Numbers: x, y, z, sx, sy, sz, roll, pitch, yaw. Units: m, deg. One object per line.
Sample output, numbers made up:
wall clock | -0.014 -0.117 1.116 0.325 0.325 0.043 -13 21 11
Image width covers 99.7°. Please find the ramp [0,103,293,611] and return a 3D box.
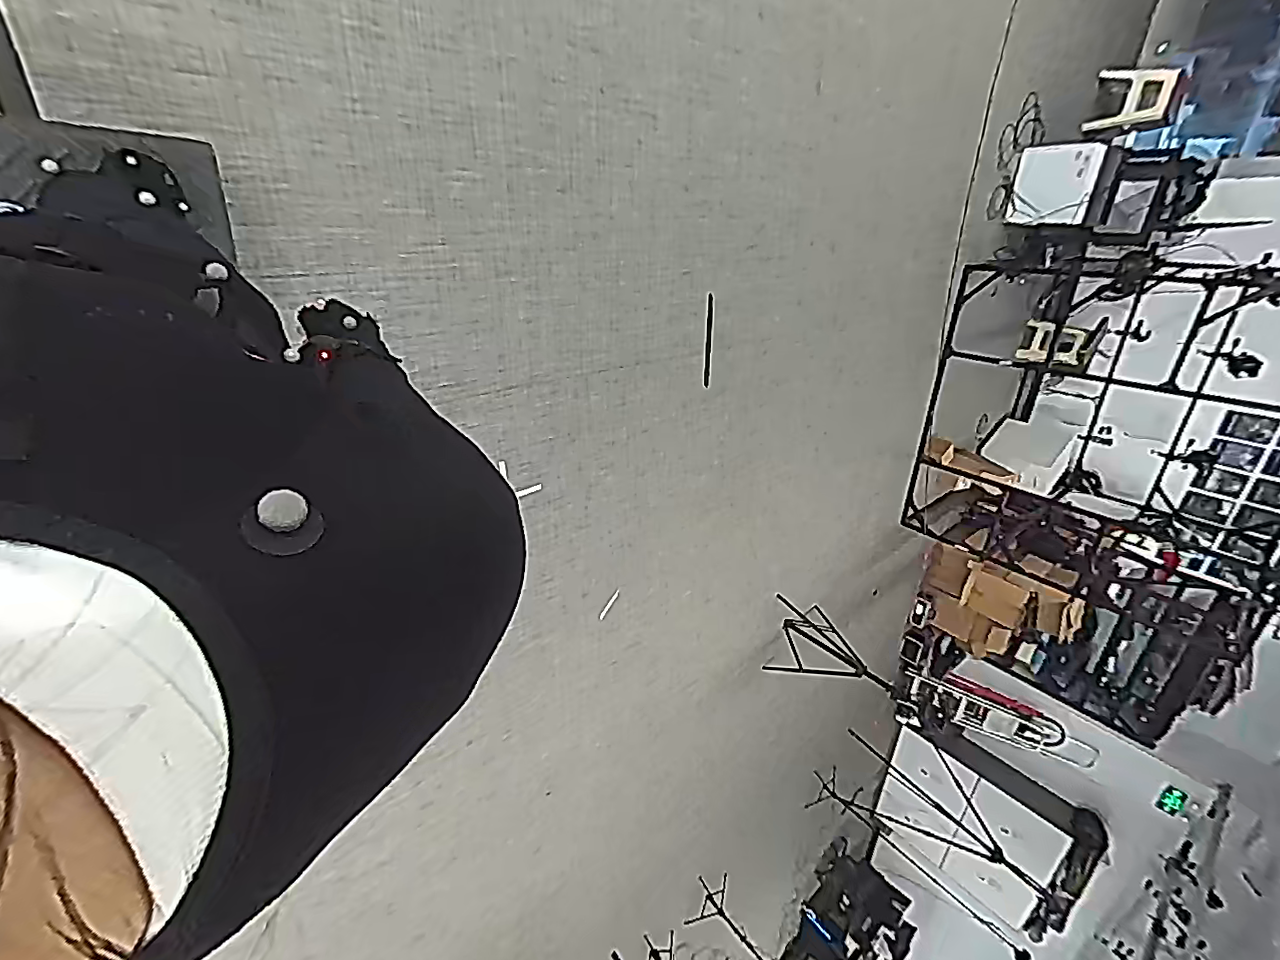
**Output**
ramp | -1.068 -0.173 1.103 0.509 0.206 0.991 -19 123 -37
